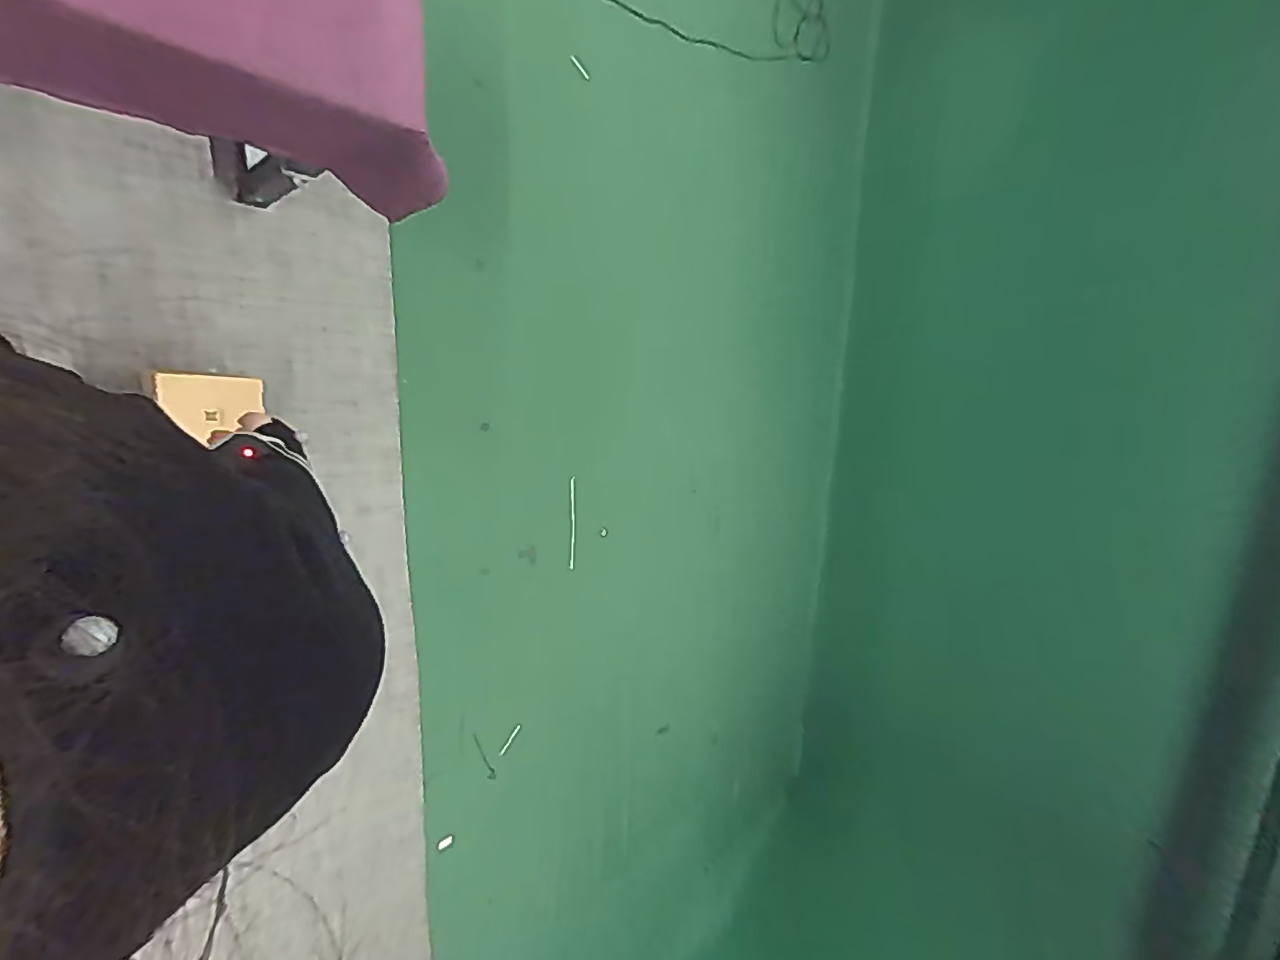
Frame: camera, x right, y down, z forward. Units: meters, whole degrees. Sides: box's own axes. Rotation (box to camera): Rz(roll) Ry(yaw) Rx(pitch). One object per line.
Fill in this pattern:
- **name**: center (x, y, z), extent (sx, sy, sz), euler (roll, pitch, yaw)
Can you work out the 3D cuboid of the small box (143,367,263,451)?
- **small box**: center (-0.935, -0.152, 1.155), extent (0.179, 0.176, 0.168), euler (-7, 105, -49)
